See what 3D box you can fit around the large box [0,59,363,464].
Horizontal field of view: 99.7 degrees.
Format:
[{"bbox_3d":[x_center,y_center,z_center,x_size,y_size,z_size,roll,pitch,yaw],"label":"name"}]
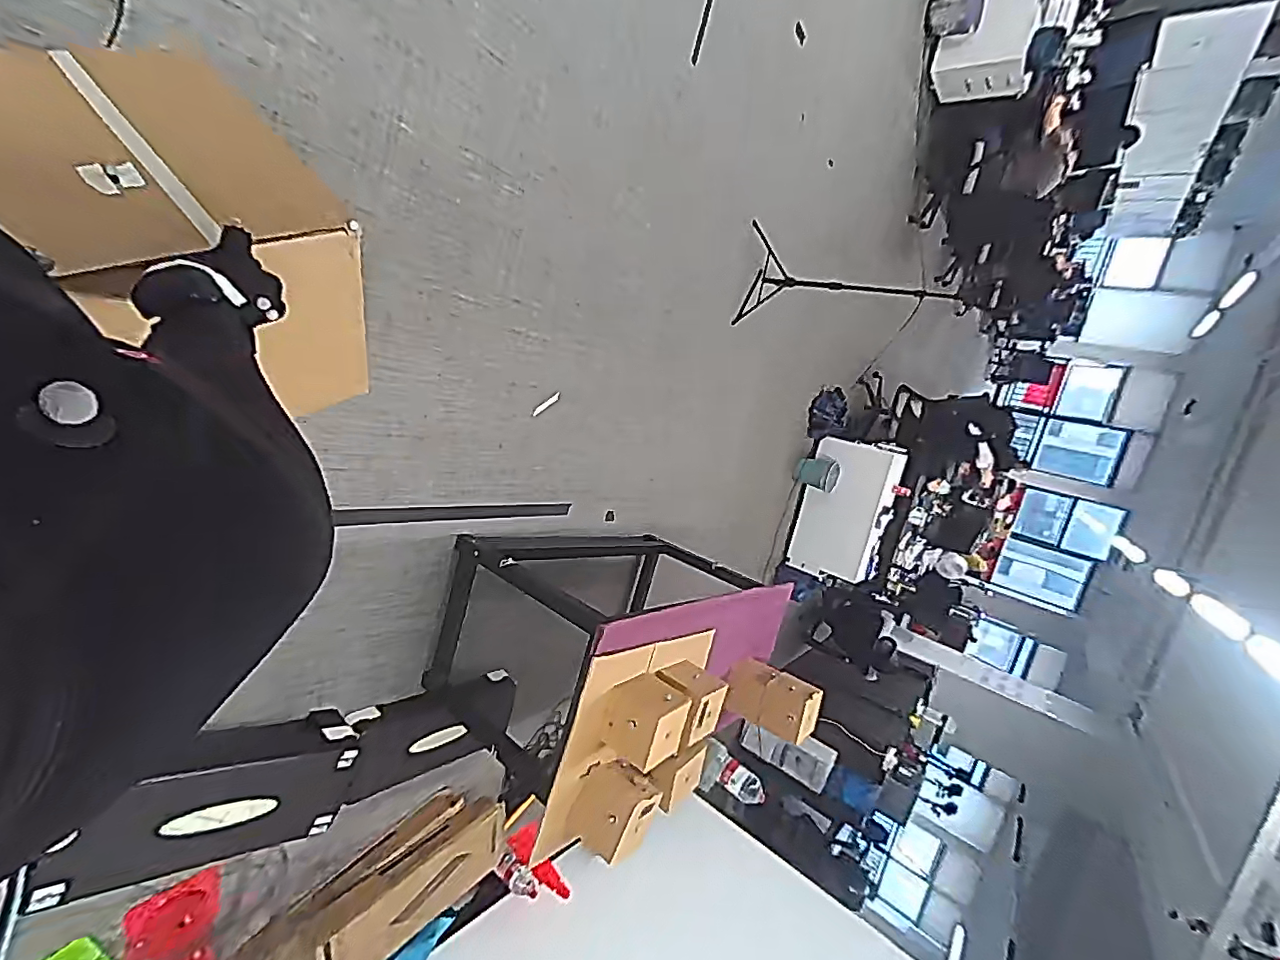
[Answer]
[{"bbox_3d":[-0.651,-0.304,0.759,0.320,0.408,0.320,-36,167,-37],"label":"large box"}]
